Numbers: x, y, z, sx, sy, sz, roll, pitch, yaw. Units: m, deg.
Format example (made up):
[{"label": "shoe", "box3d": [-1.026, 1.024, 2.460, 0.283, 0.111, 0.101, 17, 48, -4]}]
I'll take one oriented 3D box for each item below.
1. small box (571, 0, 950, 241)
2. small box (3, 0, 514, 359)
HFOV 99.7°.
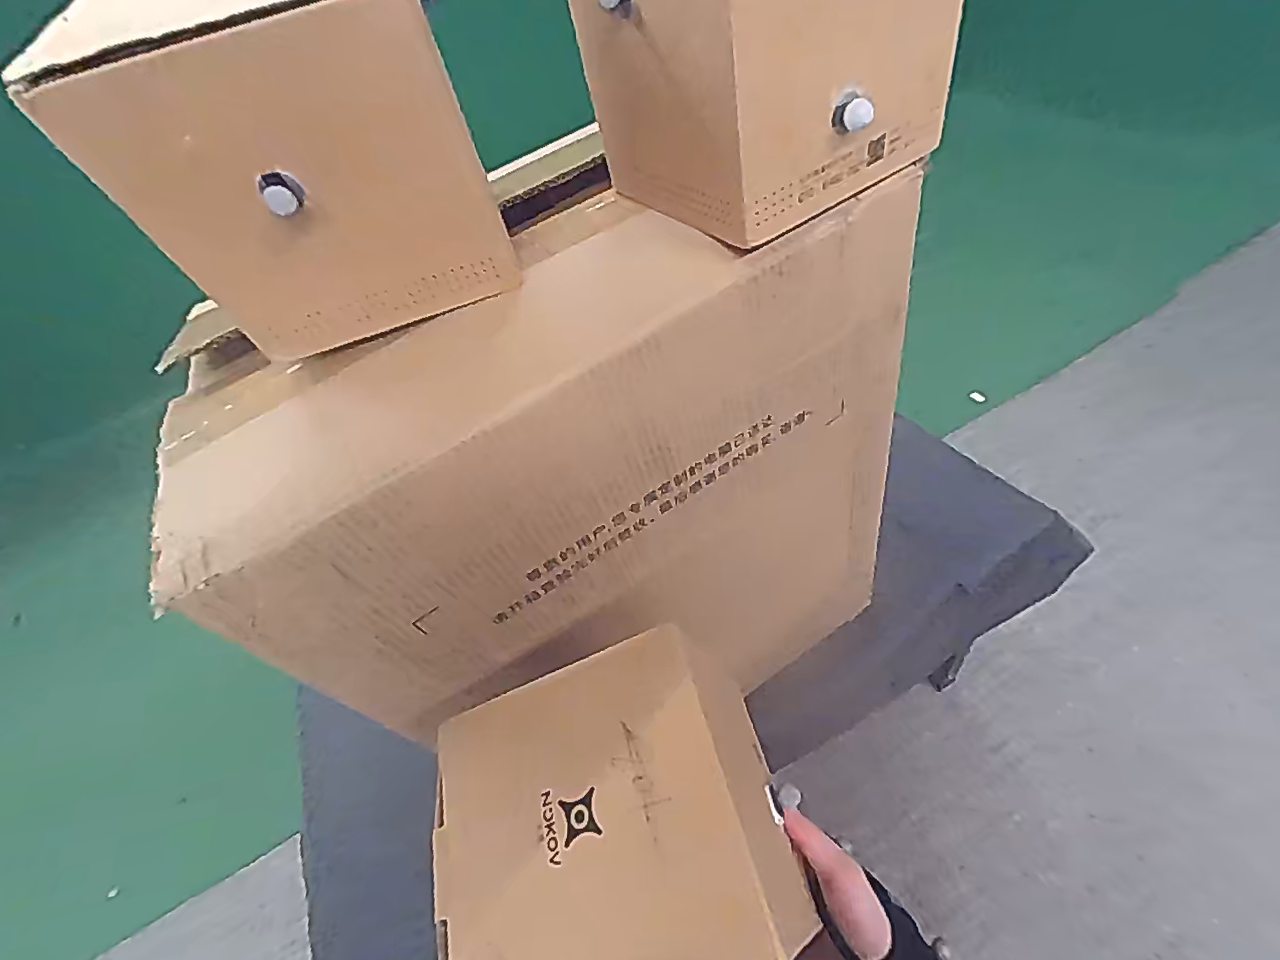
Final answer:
[{"label": "small box", "box3d": [0.067, -0.279, 0.344, 0.168, 0.176, 0.179, -32, 49, -11]}, {"label": "small box", "box3d": [-0.202, -0.206, 0.342, 0.179, 0.176, 0.168, -21, 58, -3]}]
